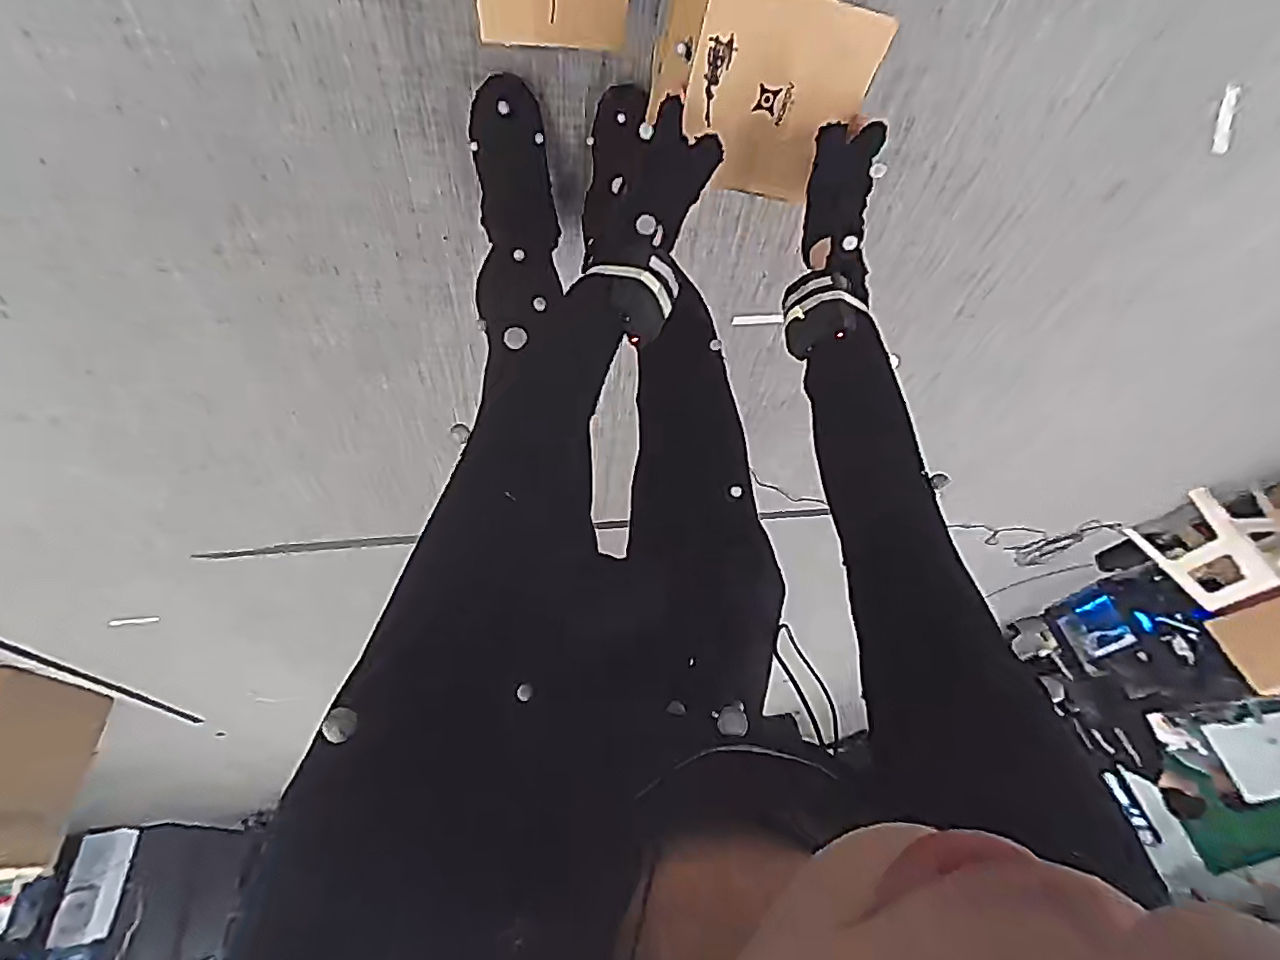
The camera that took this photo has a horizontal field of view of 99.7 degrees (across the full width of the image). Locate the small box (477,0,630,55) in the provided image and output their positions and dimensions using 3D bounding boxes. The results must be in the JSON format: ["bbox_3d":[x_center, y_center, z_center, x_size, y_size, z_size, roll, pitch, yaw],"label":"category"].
[{"bbox_3d":[-0.099,-0.604,0.589,0.168,0.176,0.179,-3,146,-10],"label":"small box"}]

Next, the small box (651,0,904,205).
[{"bbox_3d":[0.123,-0.419,0.563,0.179,0.176,0.168,4,138,-15],"label":"small box"}]
